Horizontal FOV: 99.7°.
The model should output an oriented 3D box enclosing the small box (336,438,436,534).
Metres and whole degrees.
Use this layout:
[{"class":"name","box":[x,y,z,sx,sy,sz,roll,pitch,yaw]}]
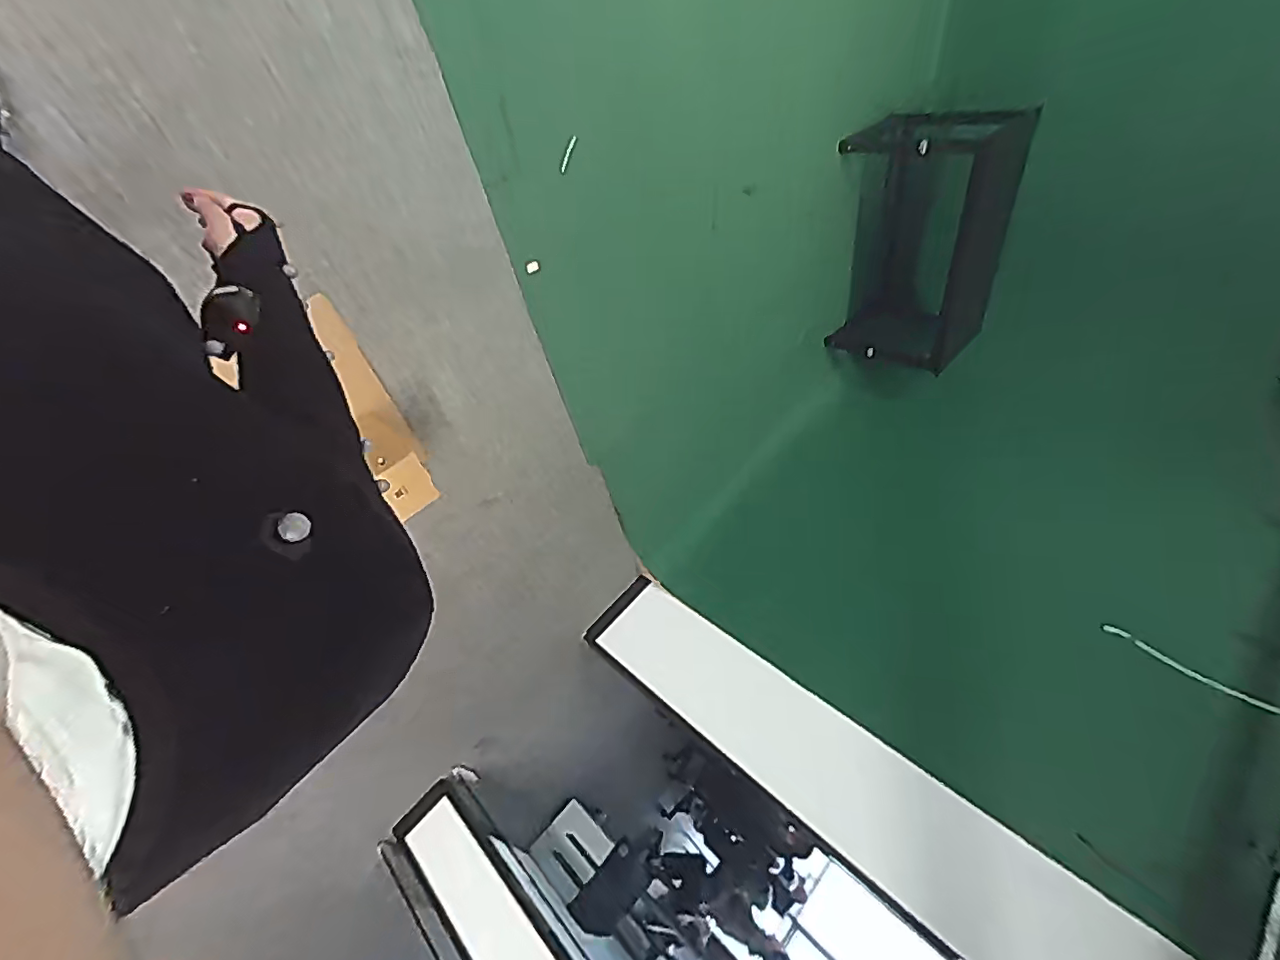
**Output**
[{"class":"small box","box":[-0.708,0.011,1.495,0.179,0.176,0.168,-41,138,-26]}]
